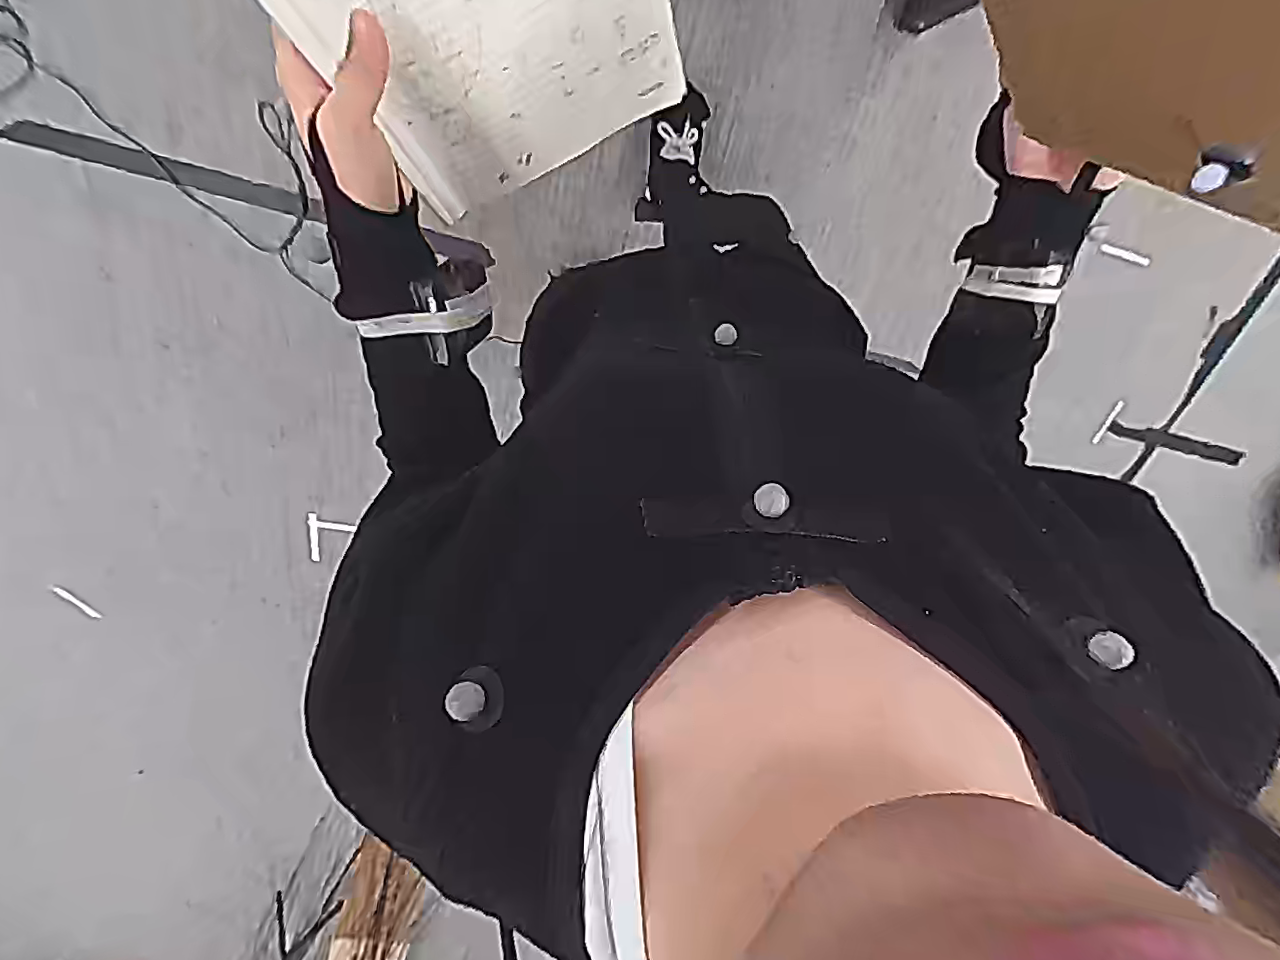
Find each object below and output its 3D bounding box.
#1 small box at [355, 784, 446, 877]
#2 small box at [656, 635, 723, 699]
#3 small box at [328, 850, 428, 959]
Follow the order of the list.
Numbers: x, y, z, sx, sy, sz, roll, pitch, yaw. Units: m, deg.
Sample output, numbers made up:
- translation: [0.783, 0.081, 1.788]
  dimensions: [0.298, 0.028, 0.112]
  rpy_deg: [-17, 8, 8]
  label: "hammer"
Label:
- translation: [-0.634, 0.941, 1.439]
  dimensions: [0.179, 0.176, 0.168]
  rpy_deg: [13, 118, -13]
  label: "small box"
- translation: [0.168, 0.677, 1.883]
  dimensions: [0.179, 0.176, 0.168]
  rpy_deg: [-28, 117, 13]
  label: "small box"
- translation: [-0.625, 1.033, 1.302]
  dimensions: [0.168, 0.176, 0.179]
  rpy_deg: [16, 117, -13]
  label: "small box"
